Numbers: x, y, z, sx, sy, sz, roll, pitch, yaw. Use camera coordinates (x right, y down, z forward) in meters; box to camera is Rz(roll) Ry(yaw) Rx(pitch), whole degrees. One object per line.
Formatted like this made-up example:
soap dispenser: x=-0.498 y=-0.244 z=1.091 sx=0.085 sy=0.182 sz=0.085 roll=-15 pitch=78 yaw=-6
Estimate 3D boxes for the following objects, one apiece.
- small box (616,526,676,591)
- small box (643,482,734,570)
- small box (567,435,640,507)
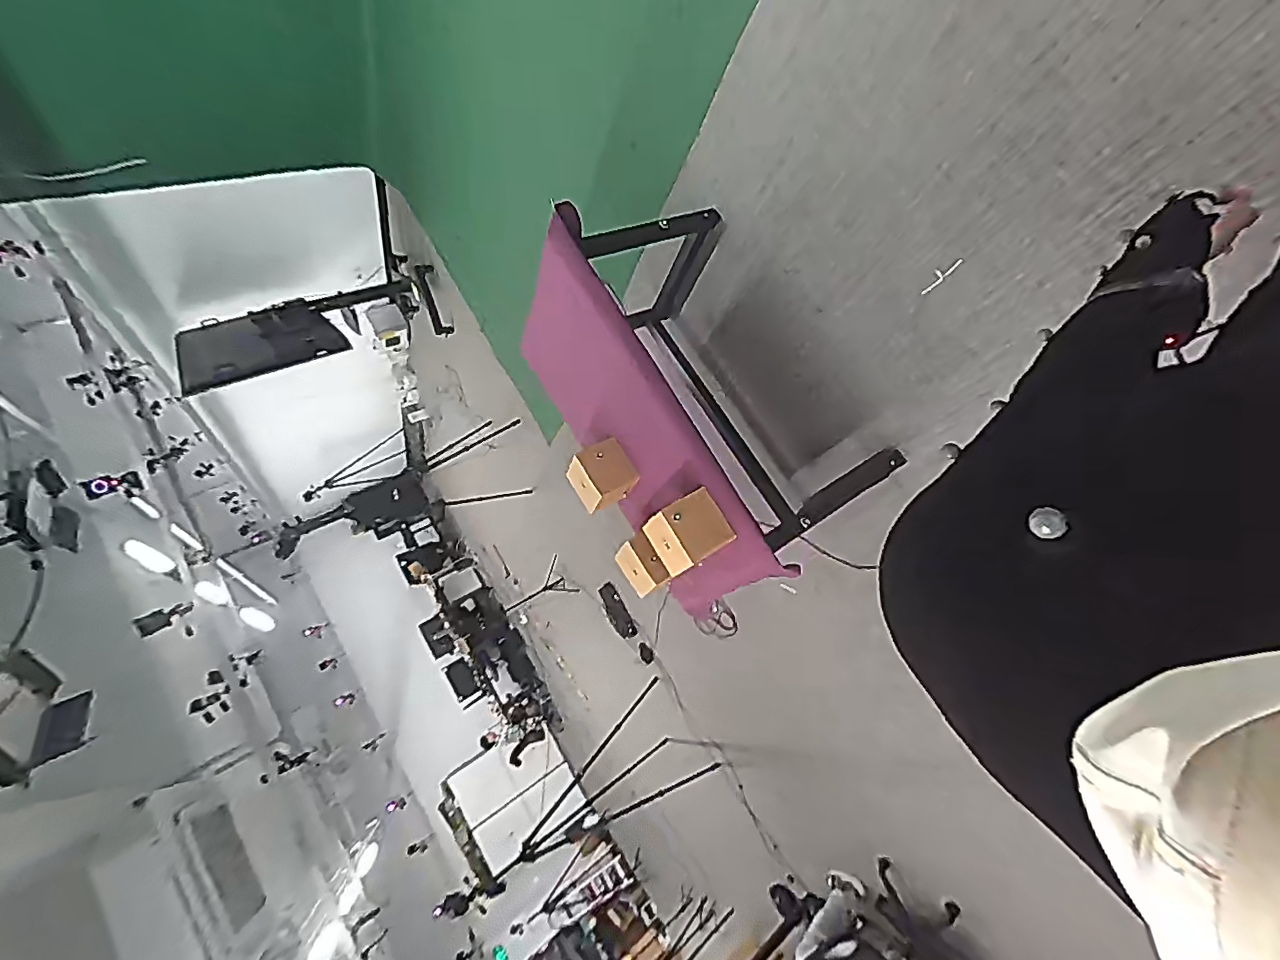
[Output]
small box: x=0.050 y=0.243 z=1.824 sx=0.179 sy=0.176 sz=0.168 roll=56 pitch=151 yaw=13
small box: x=0.142 y=0.132 z=1.572 sx=0.179 sy=0.176 sz=0.168 roll=58 pitch=153 yaw=10
small box: x=-0.128 y=-0.038 z=1.885 sx=0.179 sy=0.176 sz=0.168 roll=56 pitch=152 yaw=11
